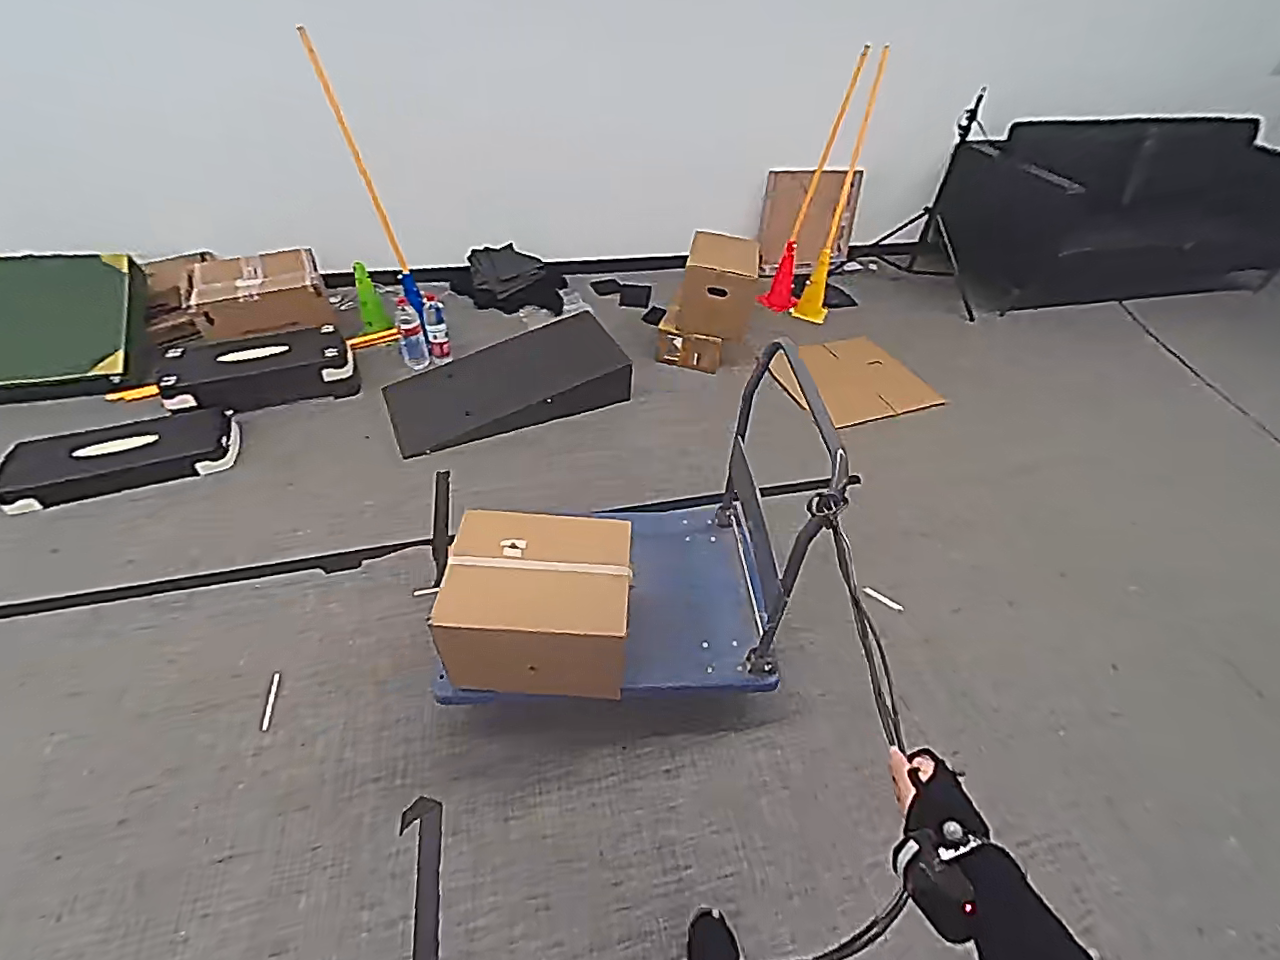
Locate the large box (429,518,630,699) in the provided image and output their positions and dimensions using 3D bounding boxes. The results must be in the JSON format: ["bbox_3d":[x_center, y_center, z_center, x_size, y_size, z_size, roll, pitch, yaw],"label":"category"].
[{"bbox_3d":[-0.230,0.311,1.296,0.408,0.320,0.320,3,44,-1],"label":"large box"}]
